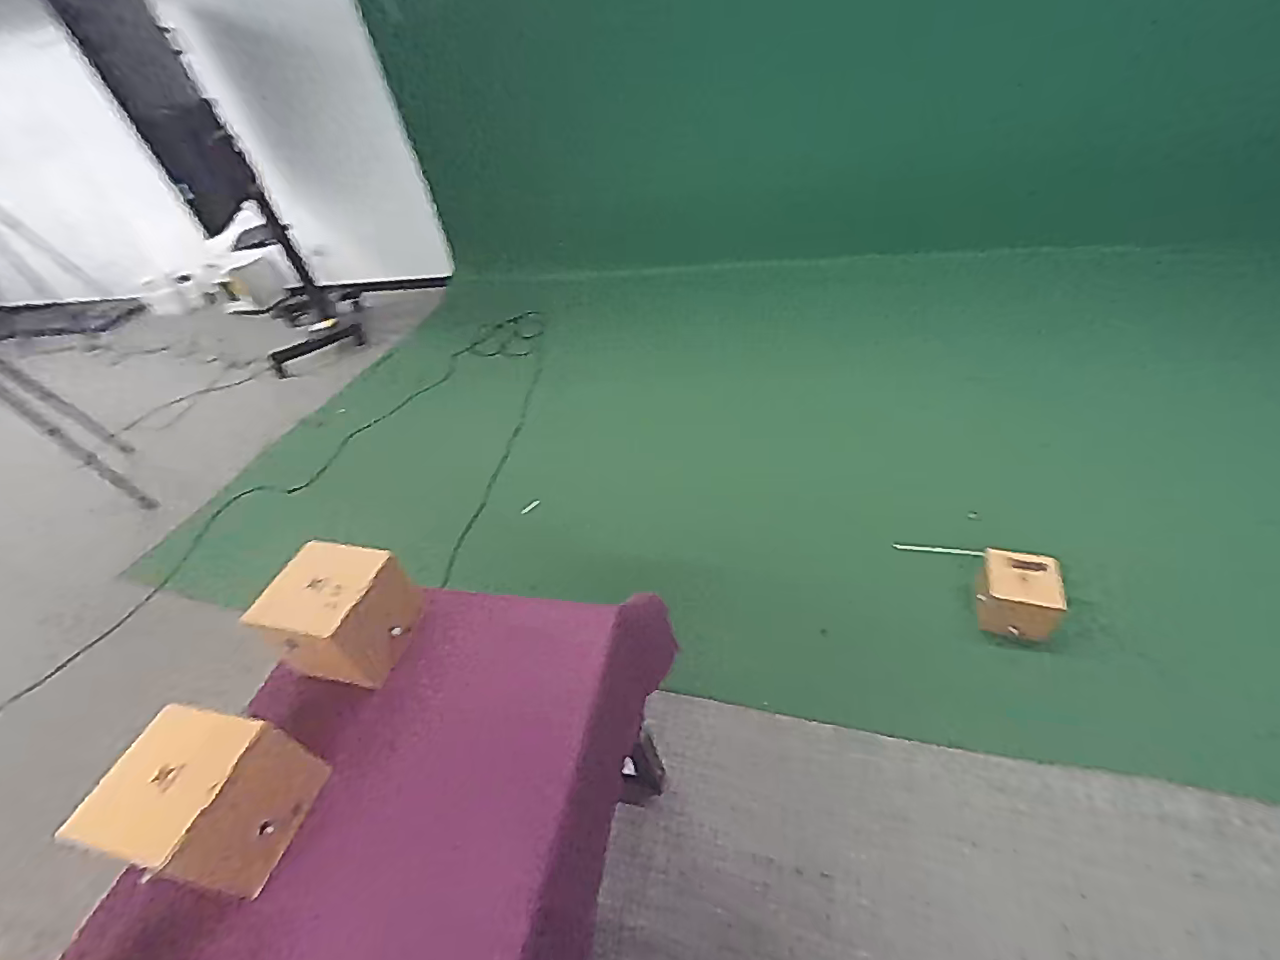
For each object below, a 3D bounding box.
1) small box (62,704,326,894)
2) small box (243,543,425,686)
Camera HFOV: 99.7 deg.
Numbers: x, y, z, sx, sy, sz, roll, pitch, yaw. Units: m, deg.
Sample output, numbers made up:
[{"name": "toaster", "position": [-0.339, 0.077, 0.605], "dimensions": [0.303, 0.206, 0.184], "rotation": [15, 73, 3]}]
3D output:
[{"name": "small box", "position": [-0.583, 0.431, 0.734], "dimensions": [0.179, 0.176, 0.168], "rotation": [3, 43, 15]}, {"name": "small box", "position": [-0.512, 0.232, 0.930], "dimensions": [0.179, 0.176, 0.168], "rotation": [5, 45, 15]}]
